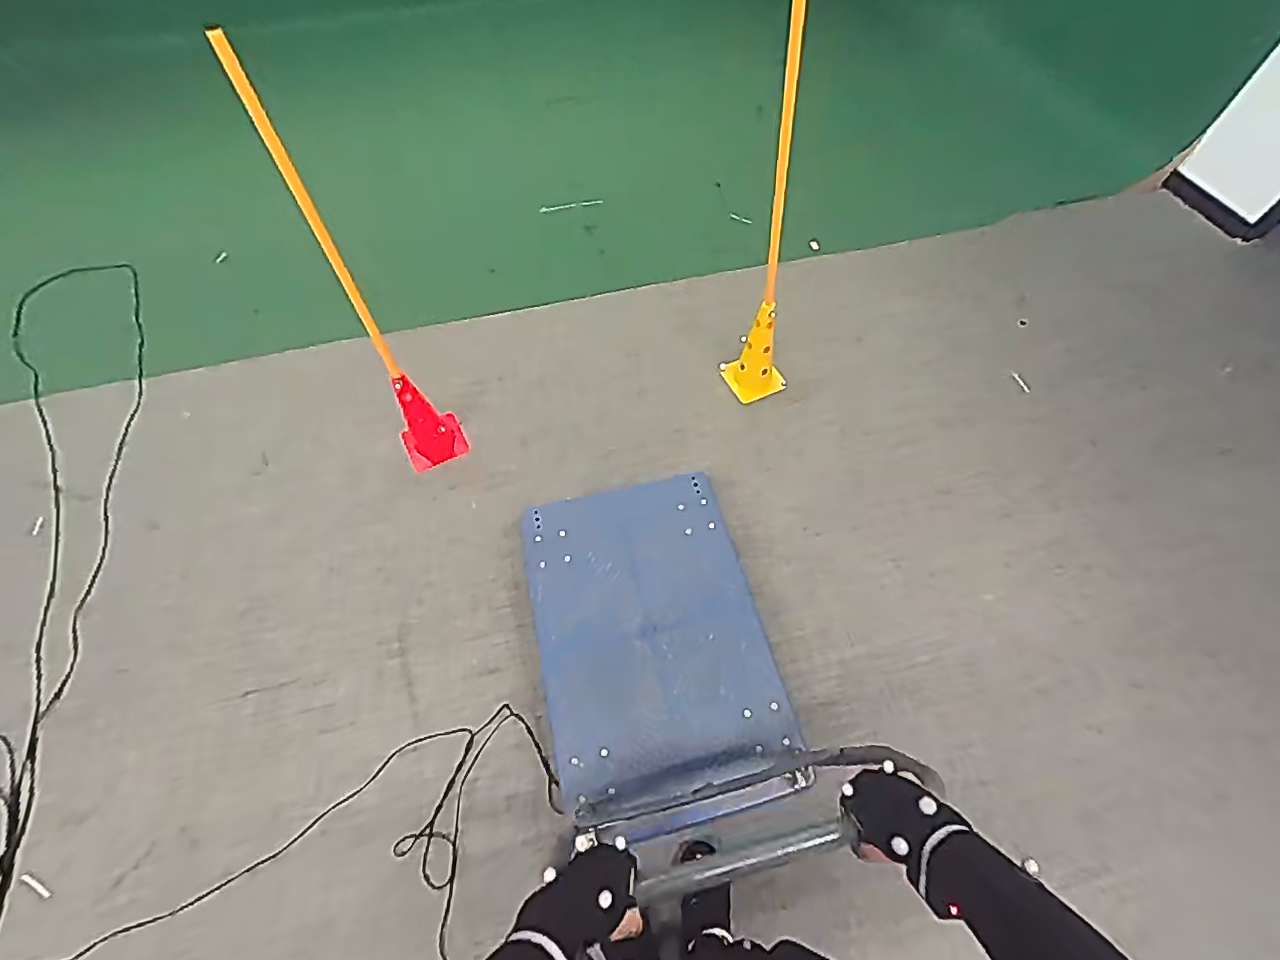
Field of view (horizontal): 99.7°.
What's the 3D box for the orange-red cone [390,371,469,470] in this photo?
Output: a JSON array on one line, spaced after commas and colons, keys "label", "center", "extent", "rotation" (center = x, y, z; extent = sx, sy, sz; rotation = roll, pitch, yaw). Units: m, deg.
[{"label": "orange-red cone", "center": [-0.728, -0.223, 1.770], "extent": [0.199, 0.360, 0.198], "rotation": [-26, 62, -12]}]
